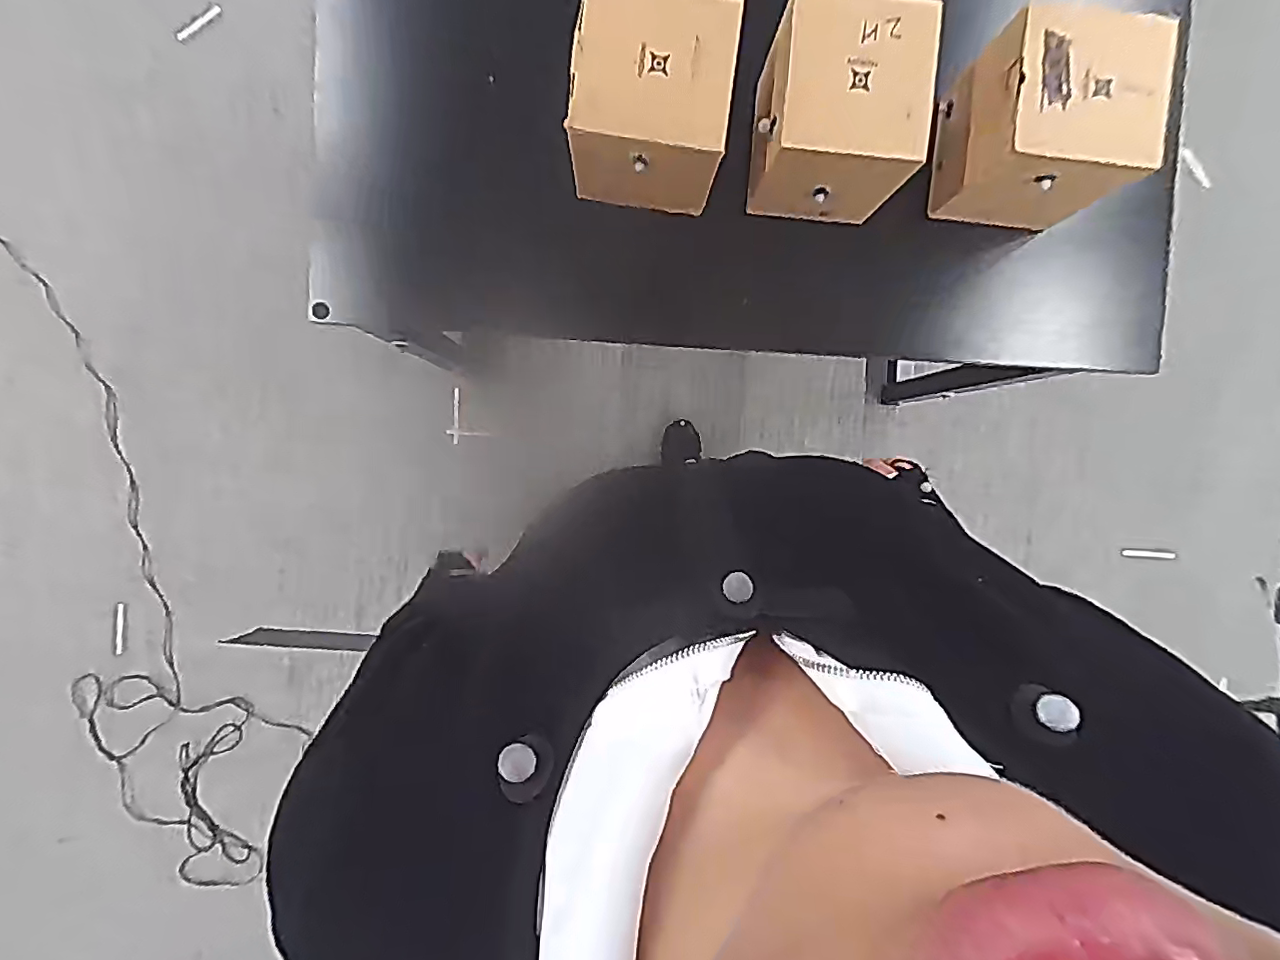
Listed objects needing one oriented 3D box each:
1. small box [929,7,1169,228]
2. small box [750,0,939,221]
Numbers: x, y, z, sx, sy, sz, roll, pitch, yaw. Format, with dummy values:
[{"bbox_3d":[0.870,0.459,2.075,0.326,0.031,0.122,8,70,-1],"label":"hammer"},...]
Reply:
[{"bbox_3d":[0.502,-0.444,0.690,0.179,0.176,0.168,5,92,-3],"label":"small box"},{"bbox_3d":[0.241,-0.451,0.681,0.168,0.176,0.179,5,92,-2],"label":"small box"}]
